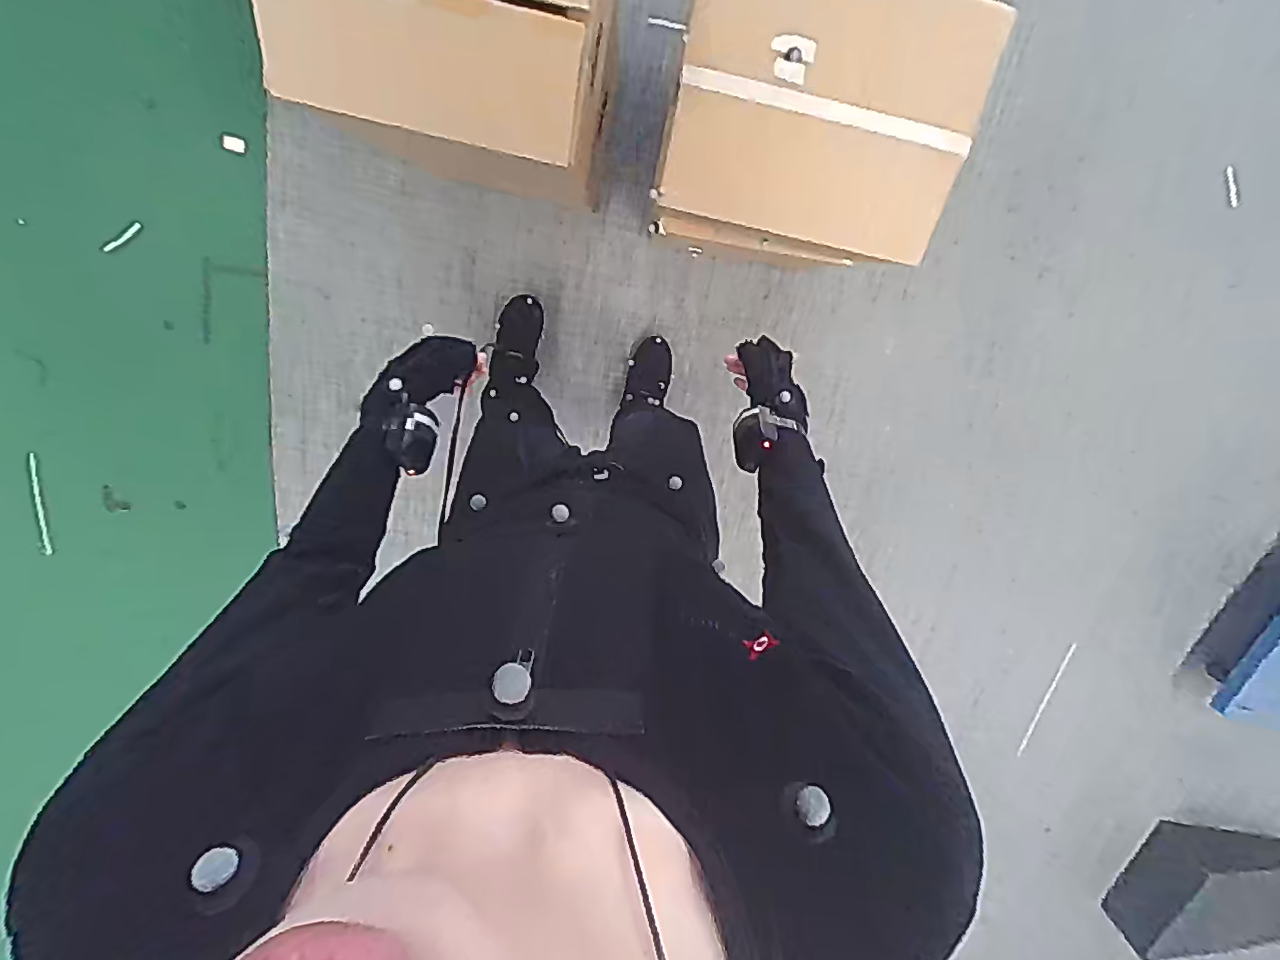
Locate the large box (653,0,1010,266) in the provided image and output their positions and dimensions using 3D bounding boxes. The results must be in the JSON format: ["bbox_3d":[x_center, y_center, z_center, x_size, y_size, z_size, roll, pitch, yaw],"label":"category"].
[{"bbox_3d":[0.248,-0.548,0.861,0.408,0.320,0.320,11,113,-4],"label":"large box"}]
